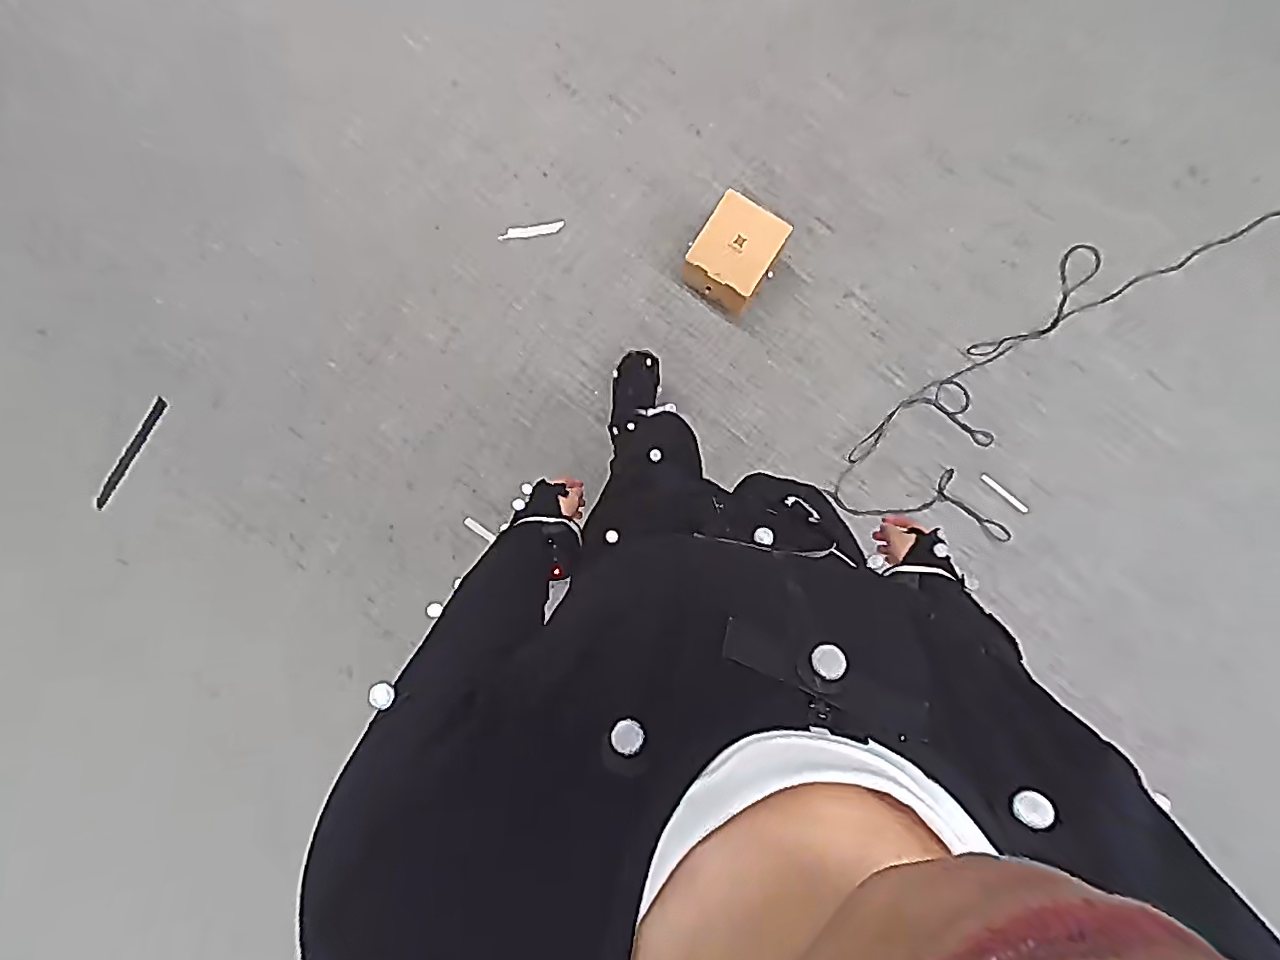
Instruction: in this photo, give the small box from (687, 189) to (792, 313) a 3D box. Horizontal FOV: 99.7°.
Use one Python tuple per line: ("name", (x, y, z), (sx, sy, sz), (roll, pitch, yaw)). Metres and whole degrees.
("small box", (0.217, -0.512, 1.236), (0.168, 0.176, 0.179), (32, 96, 1))
